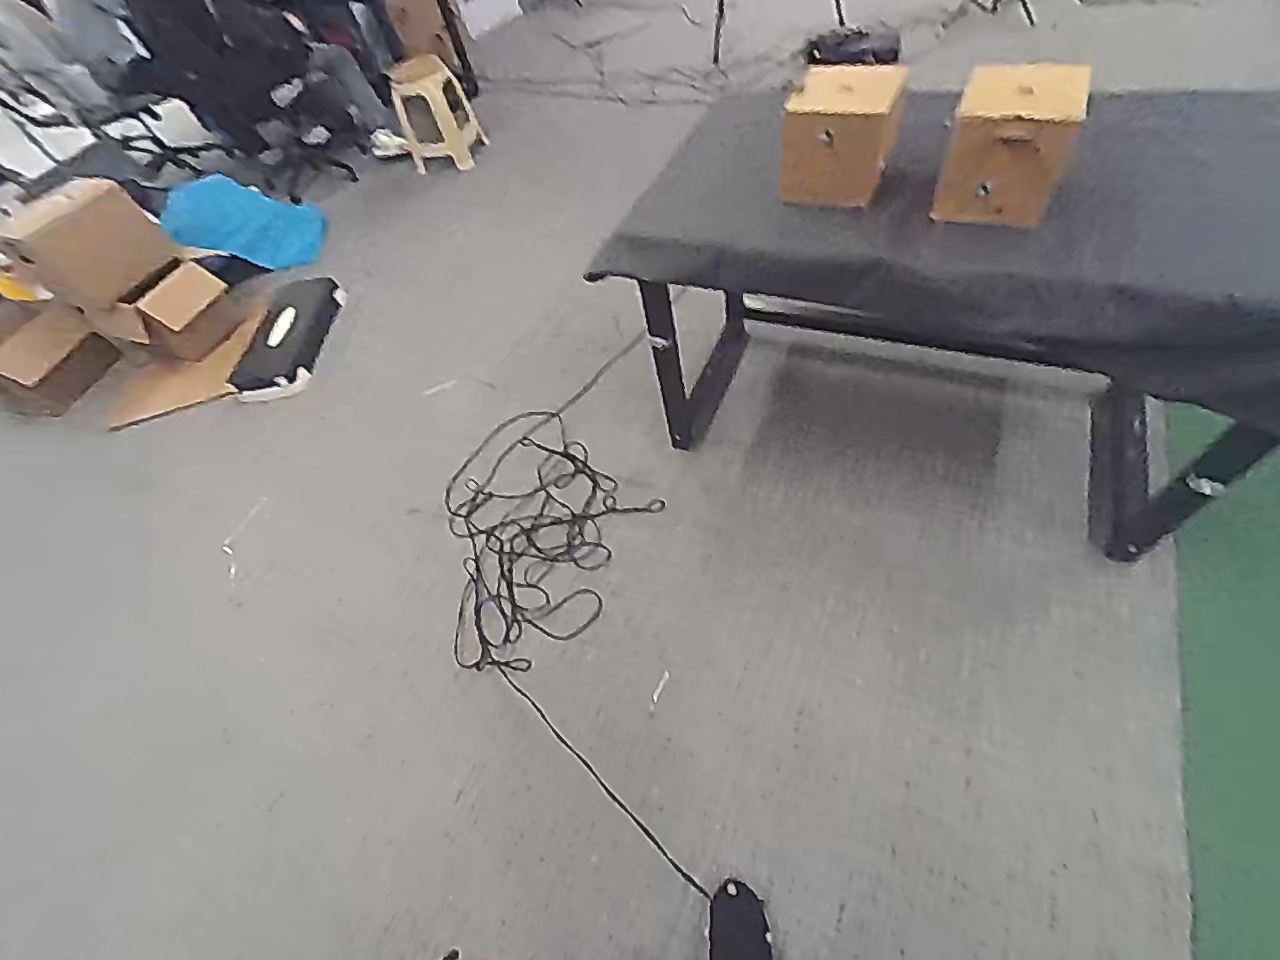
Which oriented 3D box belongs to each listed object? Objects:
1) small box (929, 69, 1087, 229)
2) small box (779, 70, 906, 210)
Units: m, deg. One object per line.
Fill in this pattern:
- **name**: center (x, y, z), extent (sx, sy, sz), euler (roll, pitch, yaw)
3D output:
- **small box**: center (0.604, -0.552, 0.903), extent (0.168, 0.176, 0.179), euler (18, 61, 22)
- **small box**: center (0.367, -0.630, 1.007), extent (0.179, 0.176, 0.168), euler (19, 62, 22)
